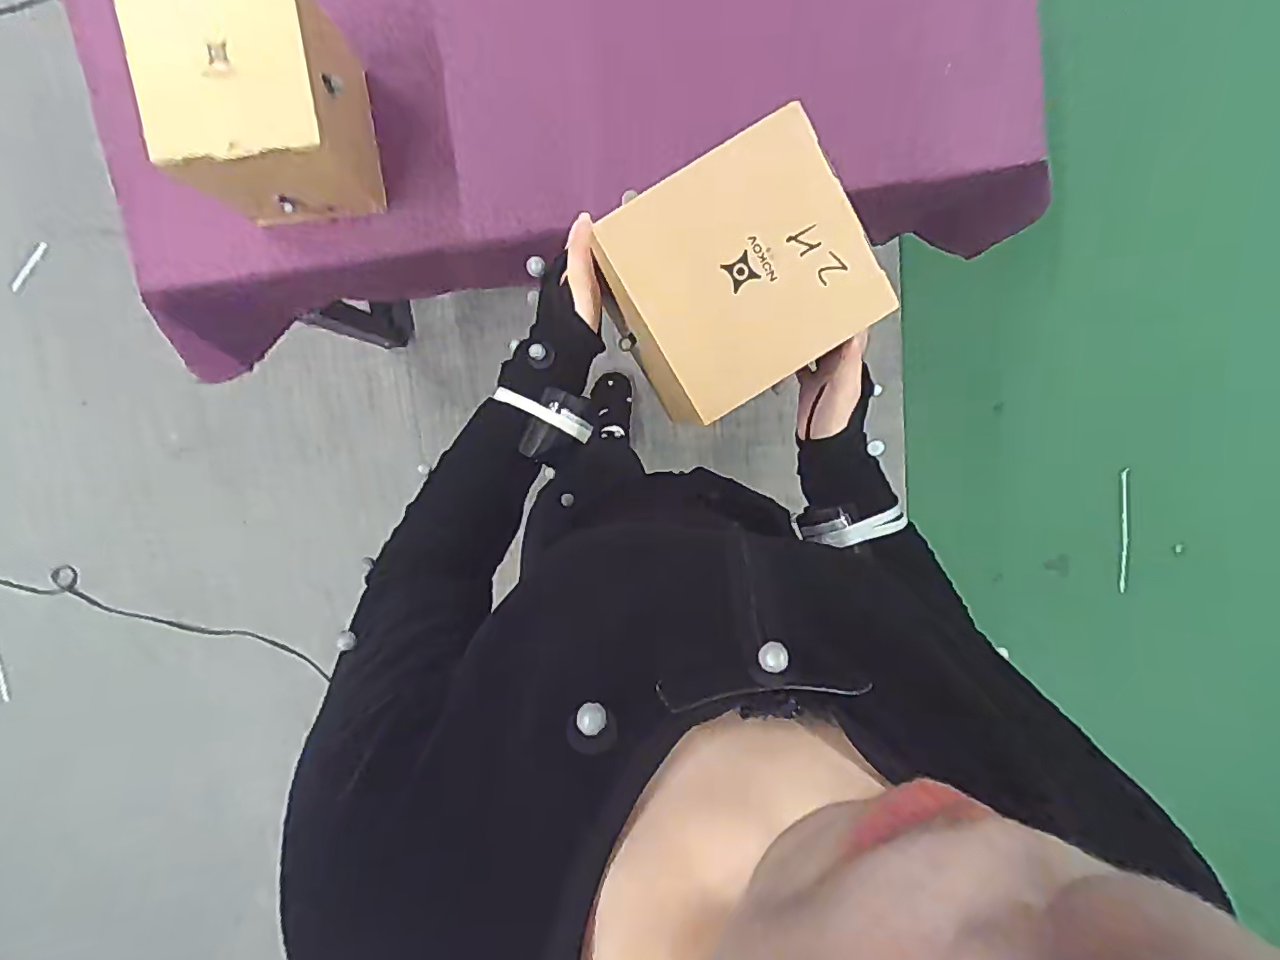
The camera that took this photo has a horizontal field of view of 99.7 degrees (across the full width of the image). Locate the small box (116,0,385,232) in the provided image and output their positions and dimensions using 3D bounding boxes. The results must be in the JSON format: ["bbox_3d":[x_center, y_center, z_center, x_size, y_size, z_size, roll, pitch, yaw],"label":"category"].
[{"bbox_3d":[-0.409,-0.401,0.601,0.168,0.176,0.179,-8,97,-3],"label":"small box"}]
